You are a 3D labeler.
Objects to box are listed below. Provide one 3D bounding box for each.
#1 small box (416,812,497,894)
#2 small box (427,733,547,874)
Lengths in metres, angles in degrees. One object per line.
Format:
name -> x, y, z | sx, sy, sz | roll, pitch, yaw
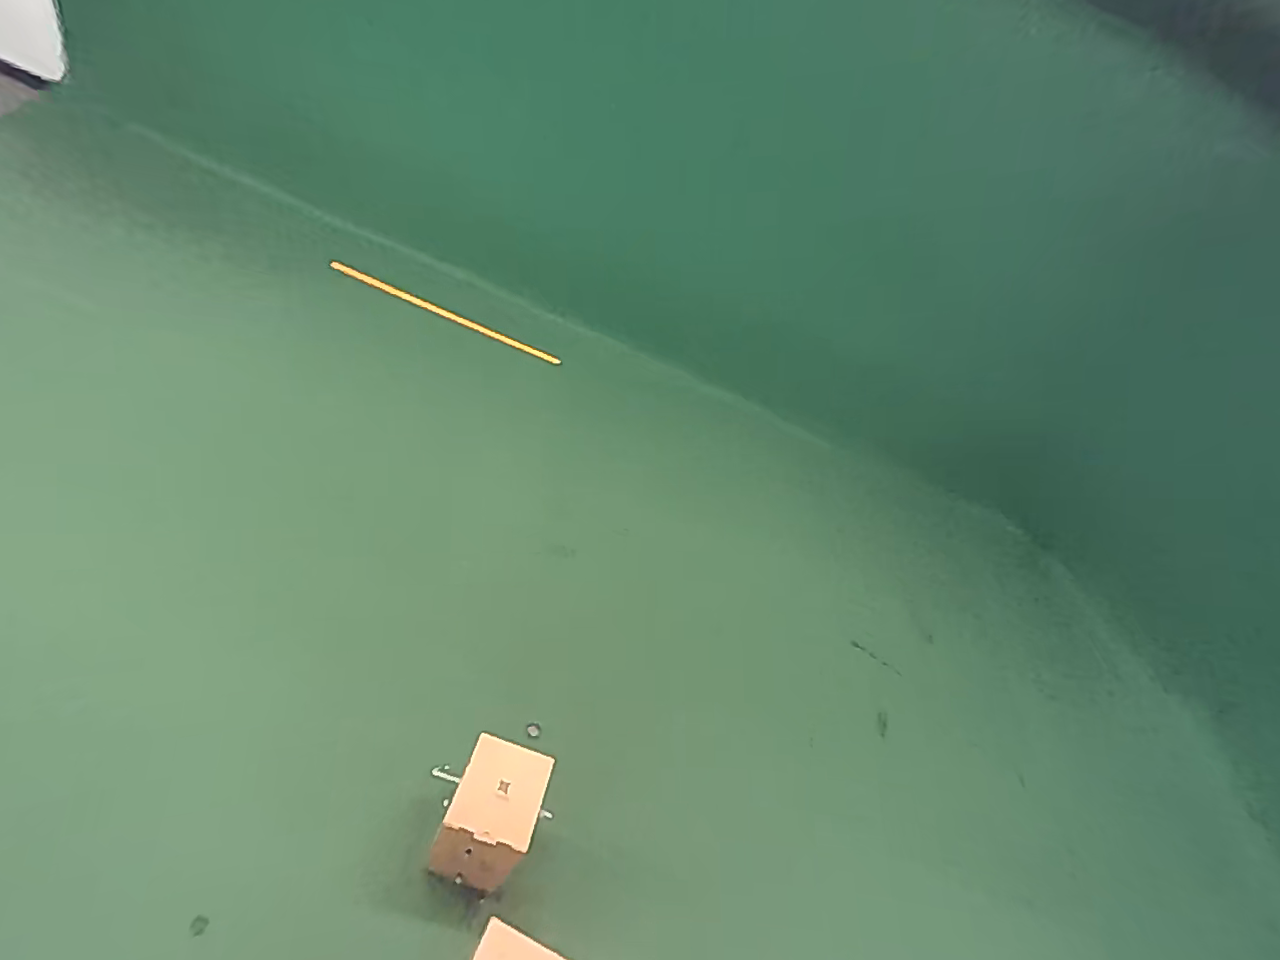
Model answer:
small box -> -0.374, 0.768, 1.192 | 0.168, 0.176, 0.179 | 25, 38, -4
small box -> -0.311, 0.655, 1.094 | 0.168, 0.176, 0.179 | 25, 38, -6
